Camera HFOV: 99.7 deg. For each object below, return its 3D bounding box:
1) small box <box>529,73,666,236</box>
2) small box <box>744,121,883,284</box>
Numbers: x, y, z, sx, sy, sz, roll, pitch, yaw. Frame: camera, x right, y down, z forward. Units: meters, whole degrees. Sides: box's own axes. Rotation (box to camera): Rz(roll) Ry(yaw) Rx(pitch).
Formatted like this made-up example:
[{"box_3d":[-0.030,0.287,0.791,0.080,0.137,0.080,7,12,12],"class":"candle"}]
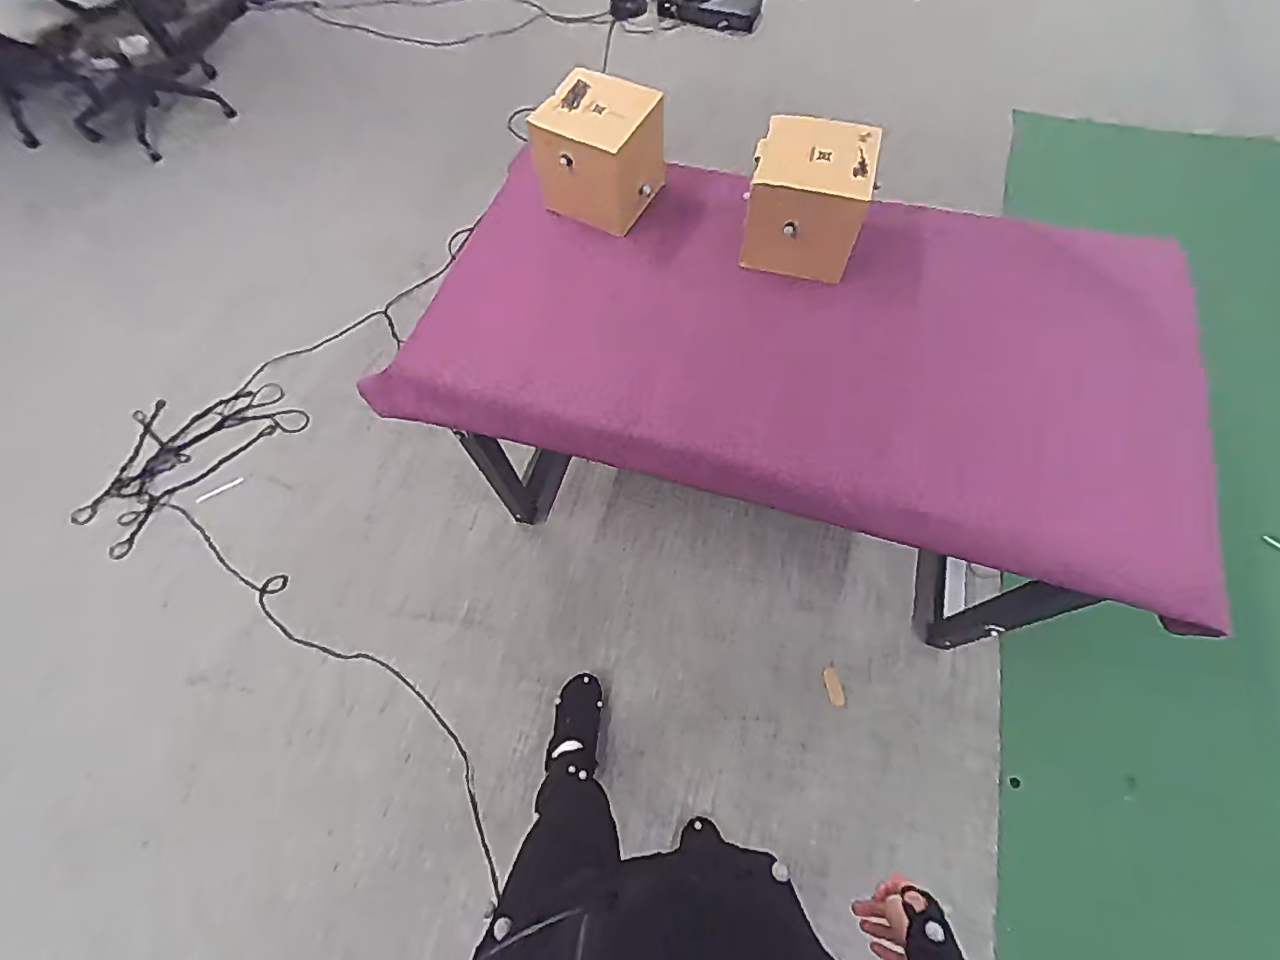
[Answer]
[{"box_3d":[-0.067,-0.570,0.961,0.179,0.176,0.168,27,70,13],"class":"small box"},{"box_3d":[0.276,-0.451,0.893,0.179,0.176,0.168,14,68,10],"class":"small box"}]
